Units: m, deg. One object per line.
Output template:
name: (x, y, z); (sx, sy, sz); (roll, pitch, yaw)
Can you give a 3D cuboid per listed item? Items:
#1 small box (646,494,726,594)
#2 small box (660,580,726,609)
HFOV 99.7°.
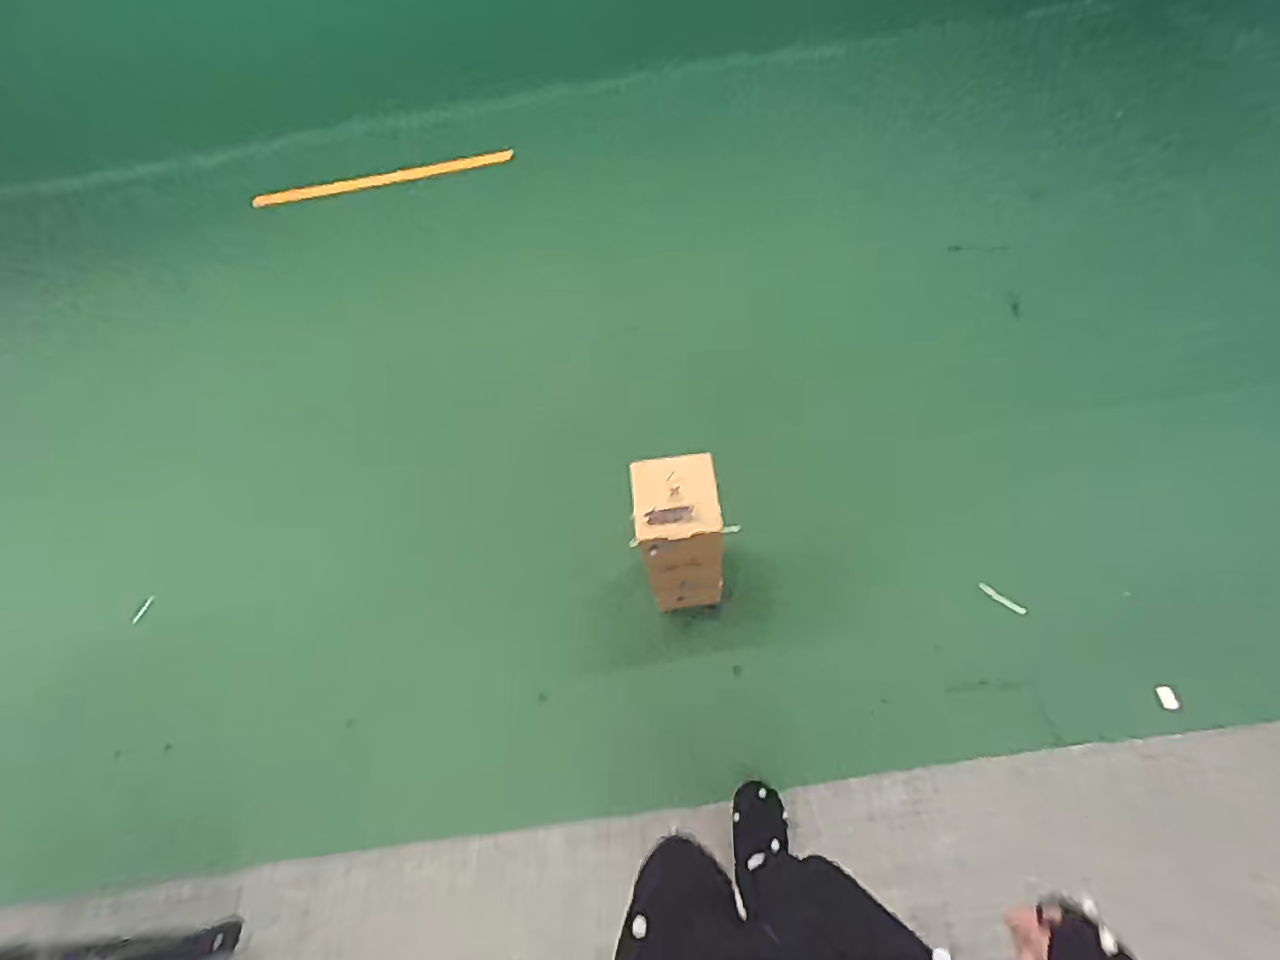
small box: (0.108, 0.153, 1.273); (0.168, 0.176, 0.179); (-8, 61, 5)
small box: (0.132, 0.232, 1.416); (0.168, 0.176, 0.179); (-10, 60, 3)
